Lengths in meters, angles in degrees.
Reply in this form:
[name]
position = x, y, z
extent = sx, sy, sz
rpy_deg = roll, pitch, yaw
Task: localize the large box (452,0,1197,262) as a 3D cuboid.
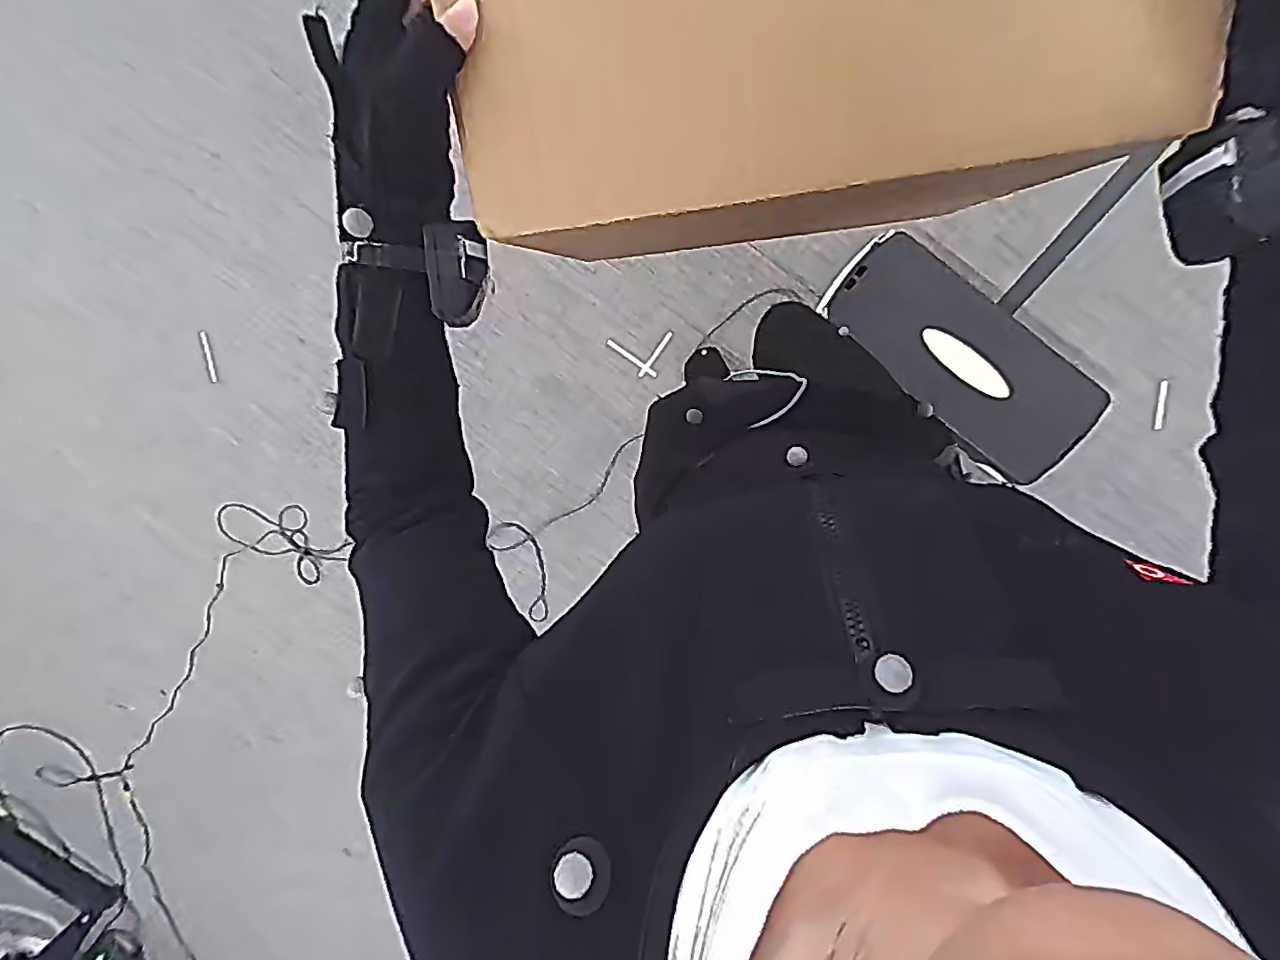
[large box]
position = 0.095, -0.370, 0.419
extent = 0.408, 0.320, 0.320
rpy_deg = -5, 109, 7
